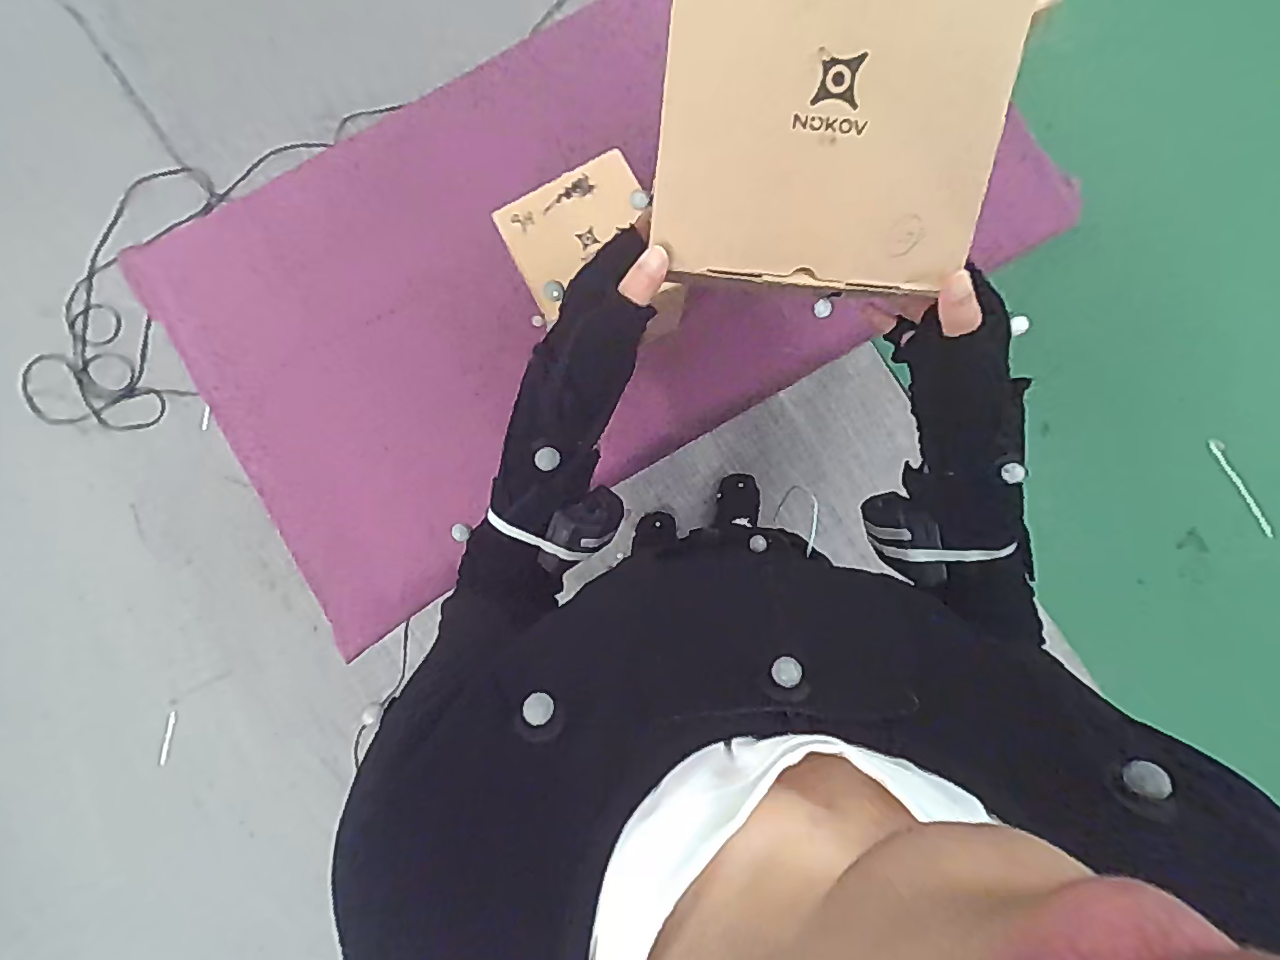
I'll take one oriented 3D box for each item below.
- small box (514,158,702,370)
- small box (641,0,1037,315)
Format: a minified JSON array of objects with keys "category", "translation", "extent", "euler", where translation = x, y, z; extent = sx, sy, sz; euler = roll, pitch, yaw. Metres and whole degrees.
[{"category":"small box","translation":[-0.036,-0.255,0.693],"extent":[0.168,0.176,0.179],"euler":[-25,89,-2]},{"category":"small box","translation":[0.094,-0.204,0.336],"extent":[0.168,0.176,0.179],"euler":[7,108,-1]}]
